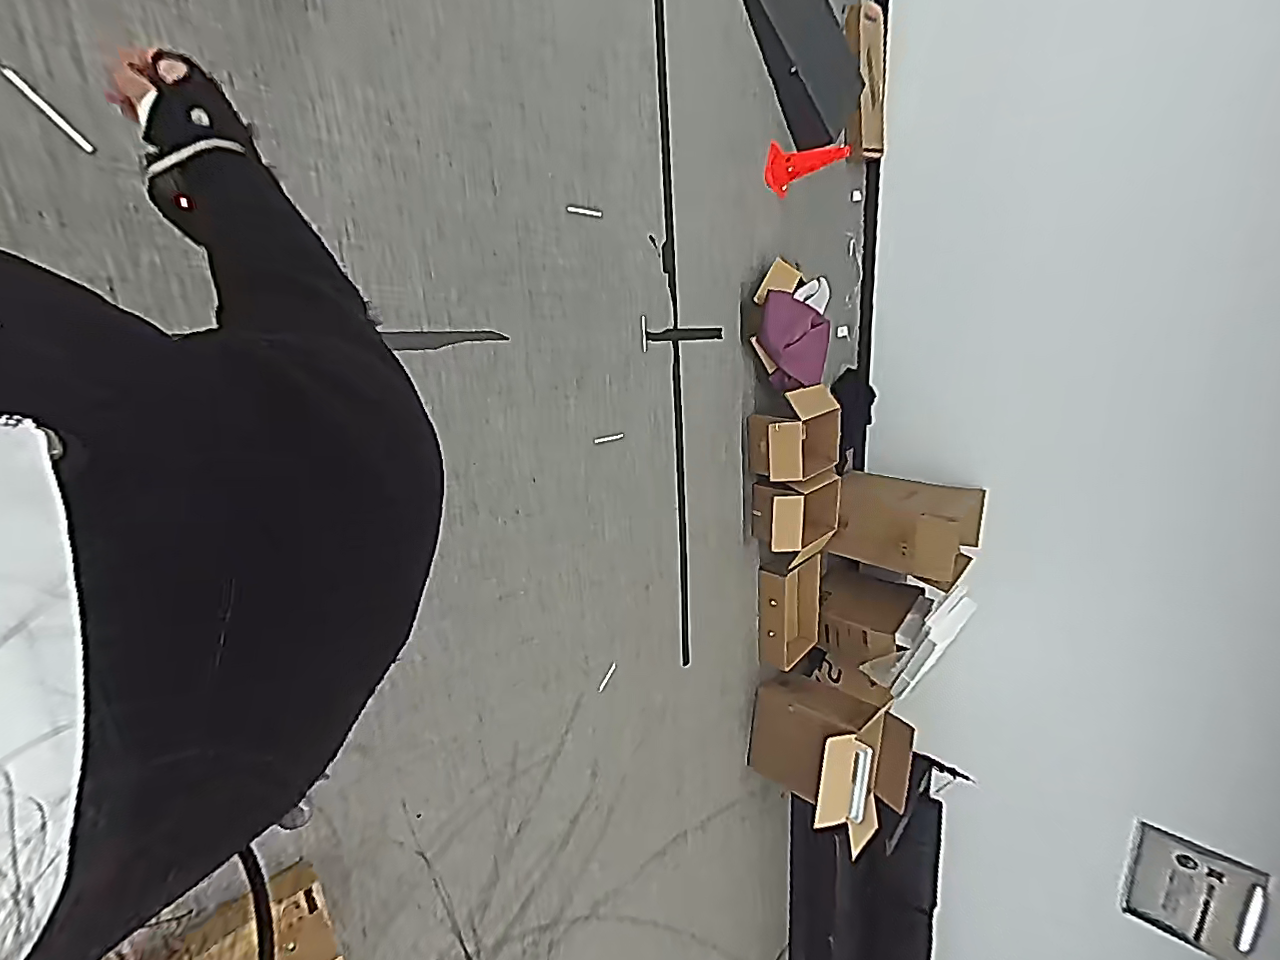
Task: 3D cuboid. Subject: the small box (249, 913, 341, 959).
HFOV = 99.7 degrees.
[{"bbox_3d":[-0.843,1.243,1.338,0.168,0.176,0.179,-18,112,-43],"label":"small box"}]
